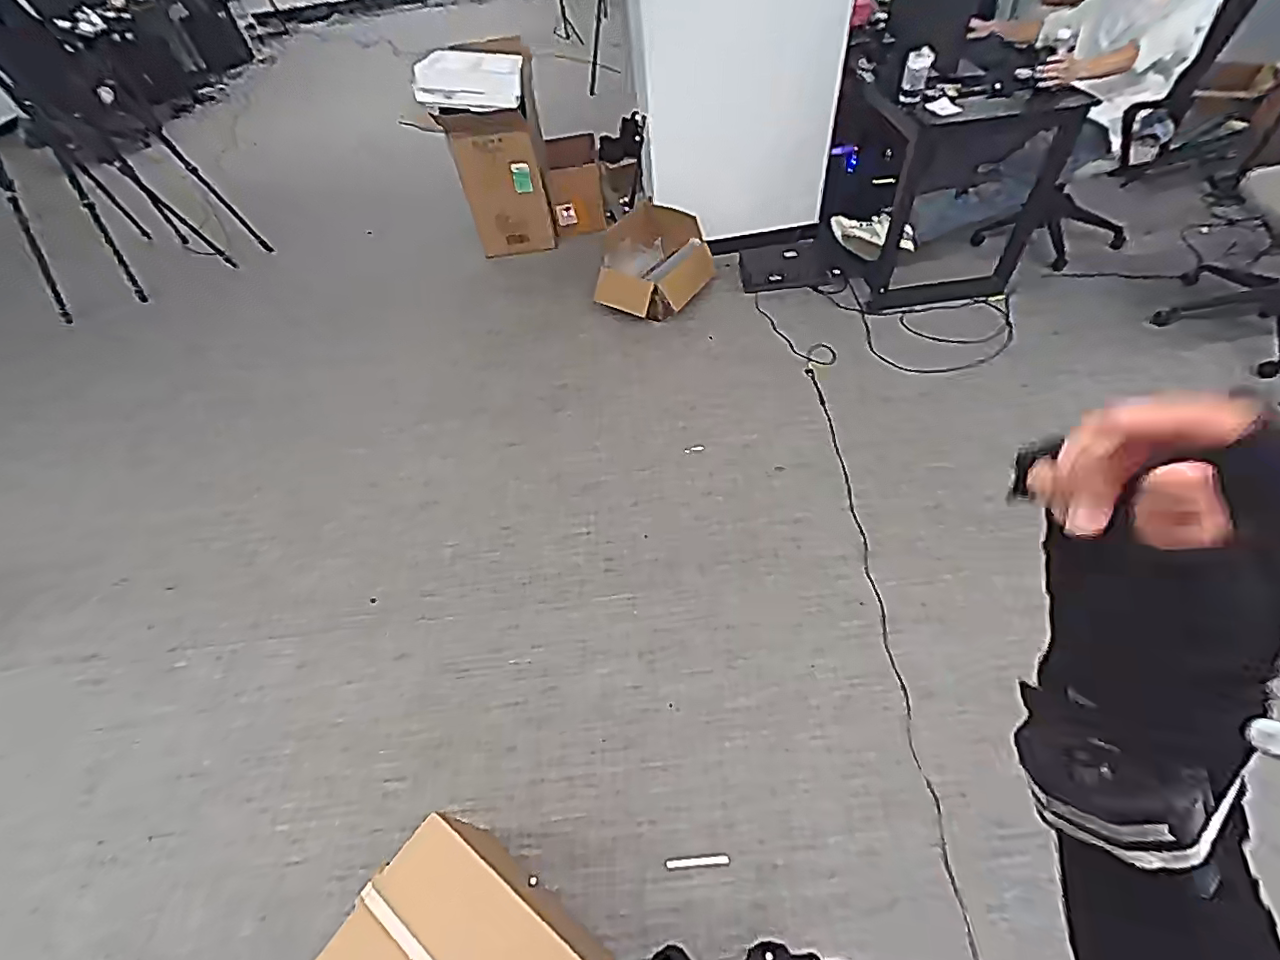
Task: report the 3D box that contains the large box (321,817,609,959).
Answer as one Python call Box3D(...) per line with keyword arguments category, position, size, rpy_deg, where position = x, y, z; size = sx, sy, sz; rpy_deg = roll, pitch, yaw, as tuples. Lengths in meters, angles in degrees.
Box3D(category="large box", position=(-0.320, 0.932, 1.028), size=(0.408, 0.320, 0.320), rpy_deg=(26, 59, 24))
